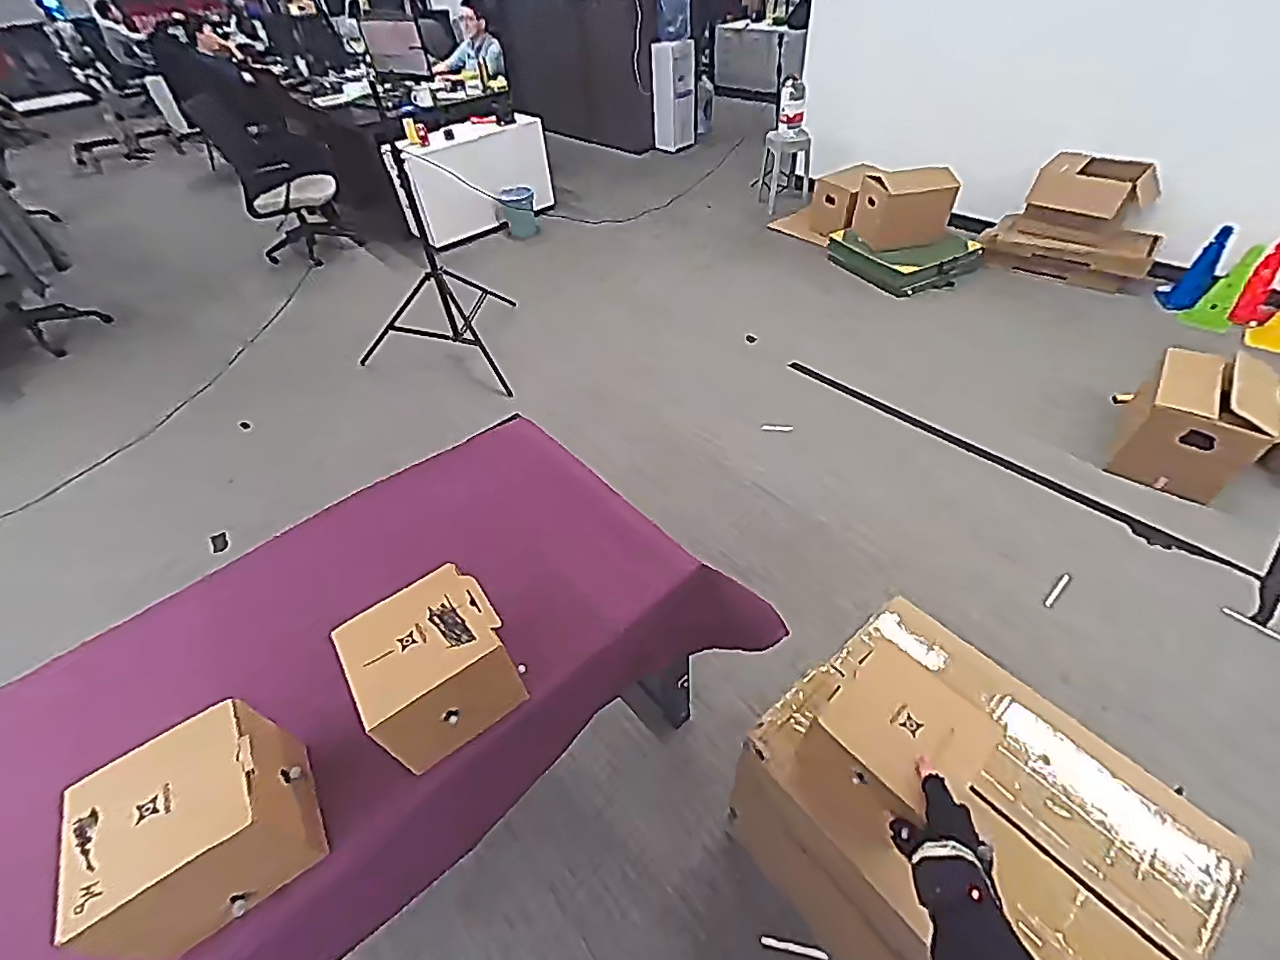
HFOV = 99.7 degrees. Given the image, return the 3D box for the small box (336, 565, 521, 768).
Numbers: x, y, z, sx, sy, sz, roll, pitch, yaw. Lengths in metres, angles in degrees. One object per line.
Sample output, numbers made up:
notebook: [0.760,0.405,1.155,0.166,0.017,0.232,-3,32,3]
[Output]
small box: [-0.283,0.260,0.758,0.179,0.176,0.168,-30,50,-22]

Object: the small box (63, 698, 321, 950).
small box: [-0.508,0.403,0.639,0.179,0.176,0.168,-28,49,-22]

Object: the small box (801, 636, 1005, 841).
small box: [0.347,0.360,0.750,0.168,0.176,0.179,-37,55,-23]
